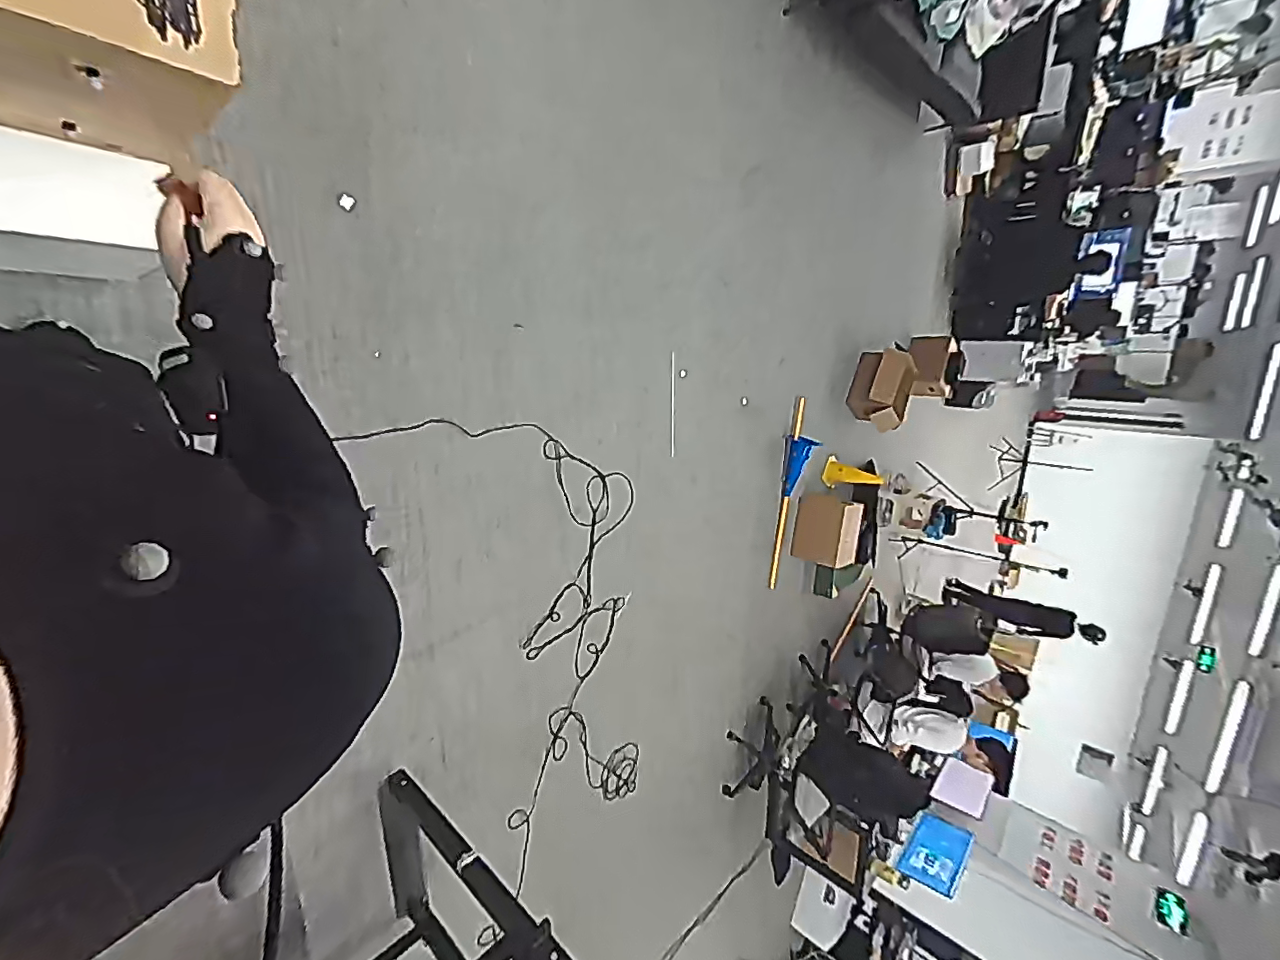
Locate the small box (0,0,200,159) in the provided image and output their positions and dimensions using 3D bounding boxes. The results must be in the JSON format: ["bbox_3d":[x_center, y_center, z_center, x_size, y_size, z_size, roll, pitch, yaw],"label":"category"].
[{"bbox_3d":[-0.573,-0.459,0.548,0.168,0.176,0.179,-9,108,-46],"label":"small box"}]
